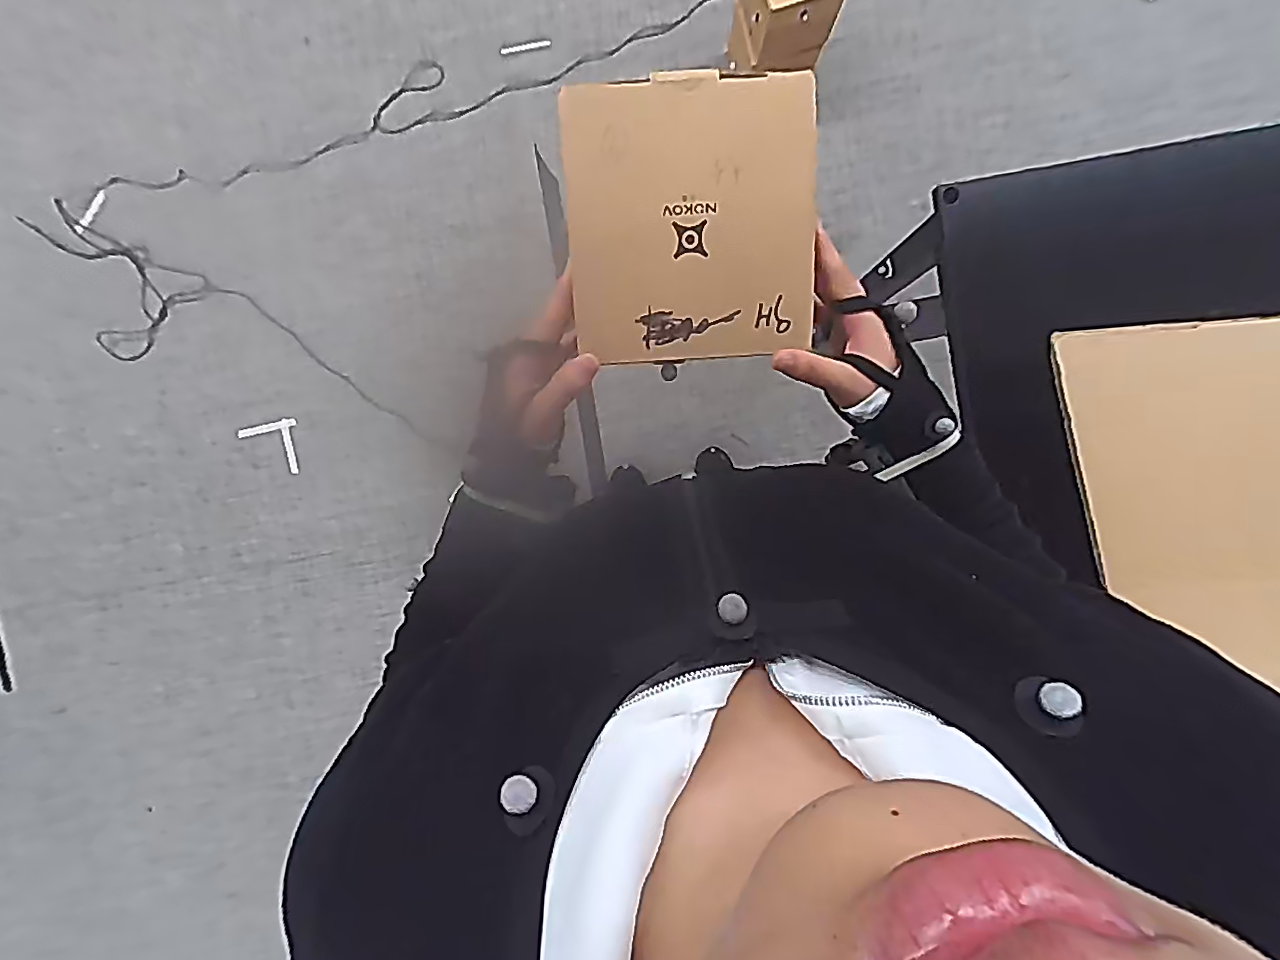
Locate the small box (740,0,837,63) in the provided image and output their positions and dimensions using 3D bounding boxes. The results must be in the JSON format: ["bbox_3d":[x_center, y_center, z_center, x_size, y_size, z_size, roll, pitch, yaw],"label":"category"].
[{"bbox_3d":[0.331,-1.086,1.209,0.179,0.176,0.168,-17,92,1],"label":"small box"}]

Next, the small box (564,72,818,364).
[{"bbox_3d":[0.034,-0.187,0.437,0.168,0.176,0.179,-4,103,0],"label":"small box"}]

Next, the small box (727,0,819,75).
[{"bbox_3d":[0.331,-1.089,1.372,0.179,0.176,0.168,-14,91,3],"label":"small box"}]
